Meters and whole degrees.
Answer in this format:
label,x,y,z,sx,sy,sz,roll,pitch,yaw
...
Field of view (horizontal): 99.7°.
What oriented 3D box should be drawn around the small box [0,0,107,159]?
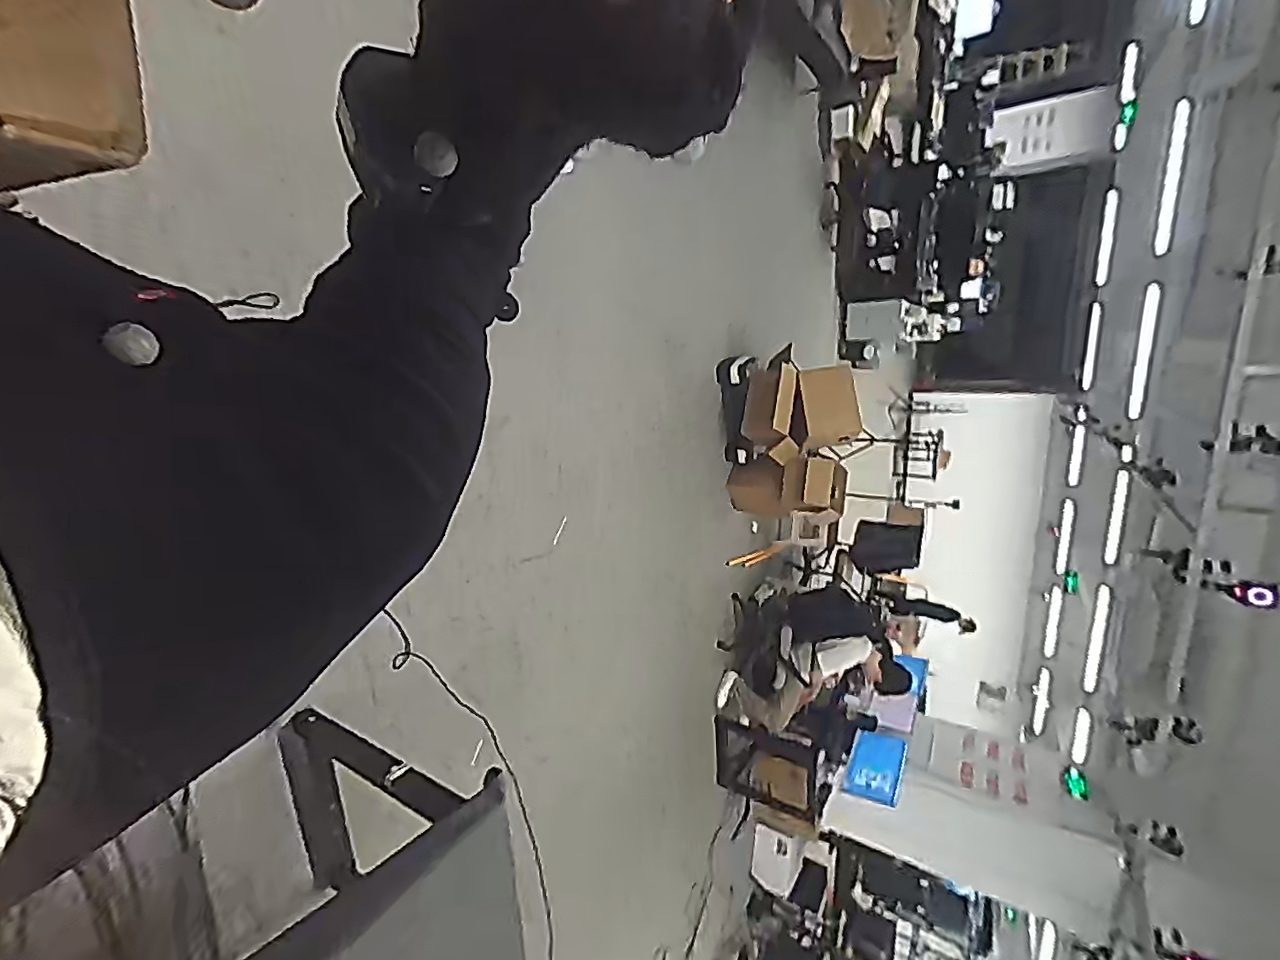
label,x,y,z,sx,sy,sz,roll,pitch,yaw
small box,-0.257,-0.178,0.106,0.168,0.176,0.179,-20,118,-60
